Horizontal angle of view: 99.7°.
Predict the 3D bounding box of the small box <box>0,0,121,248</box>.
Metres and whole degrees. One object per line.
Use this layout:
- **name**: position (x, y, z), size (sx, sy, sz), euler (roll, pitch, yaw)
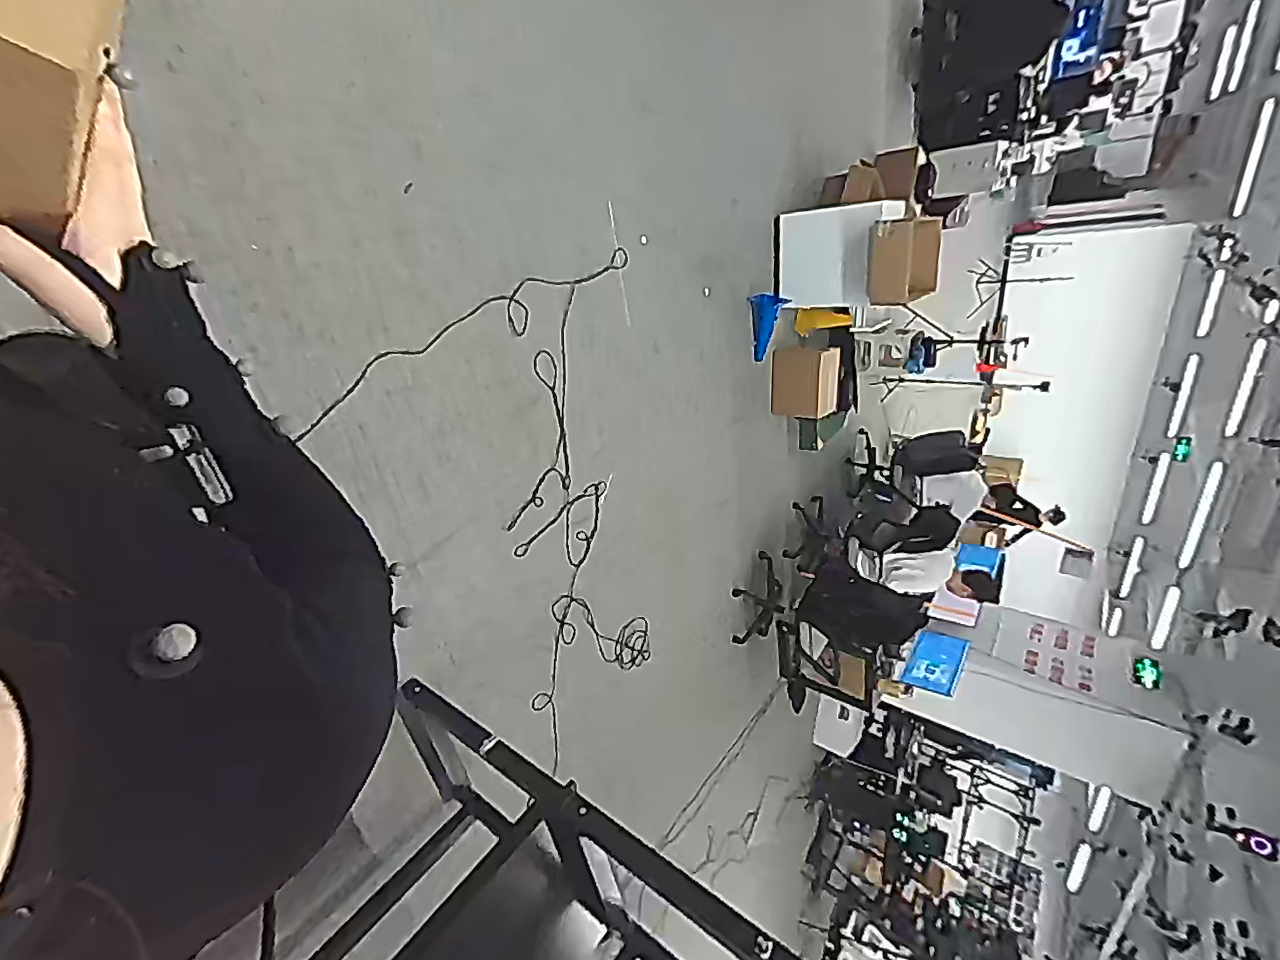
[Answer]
- **small box**: position (-0.365, -0.252, 0.251), size (0.168, 0.176, 0.179), euler (12, 67, -45)
